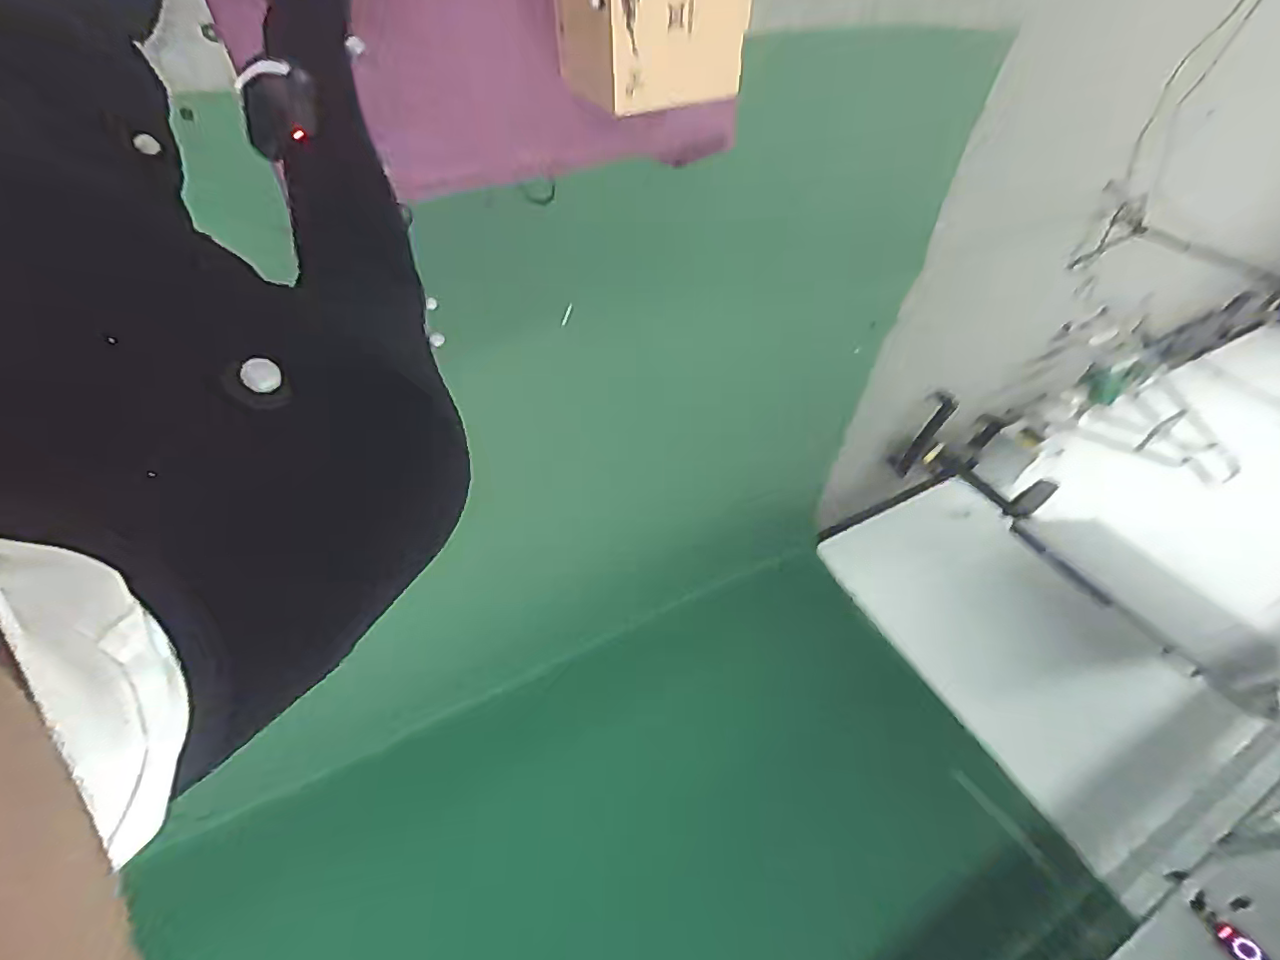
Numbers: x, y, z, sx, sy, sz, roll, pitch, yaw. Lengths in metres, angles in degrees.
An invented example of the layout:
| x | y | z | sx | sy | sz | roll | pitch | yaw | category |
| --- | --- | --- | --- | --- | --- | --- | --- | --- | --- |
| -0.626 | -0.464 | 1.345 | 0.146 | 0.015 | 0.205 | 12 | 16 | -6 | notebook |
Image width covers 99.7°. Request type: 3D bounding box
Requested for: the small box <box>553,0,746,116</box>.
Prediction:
| x | y | z | sx | sy | sz | roll | pitch | yaw | category |
| --- | --- | --- | --- | --- | --- | --- | --- | --- | --- |
| 0.007 | -0.559 | 0.642 | 0.179 | 0.176 | 0.168 | -22 | 141 | -18 | small box |
